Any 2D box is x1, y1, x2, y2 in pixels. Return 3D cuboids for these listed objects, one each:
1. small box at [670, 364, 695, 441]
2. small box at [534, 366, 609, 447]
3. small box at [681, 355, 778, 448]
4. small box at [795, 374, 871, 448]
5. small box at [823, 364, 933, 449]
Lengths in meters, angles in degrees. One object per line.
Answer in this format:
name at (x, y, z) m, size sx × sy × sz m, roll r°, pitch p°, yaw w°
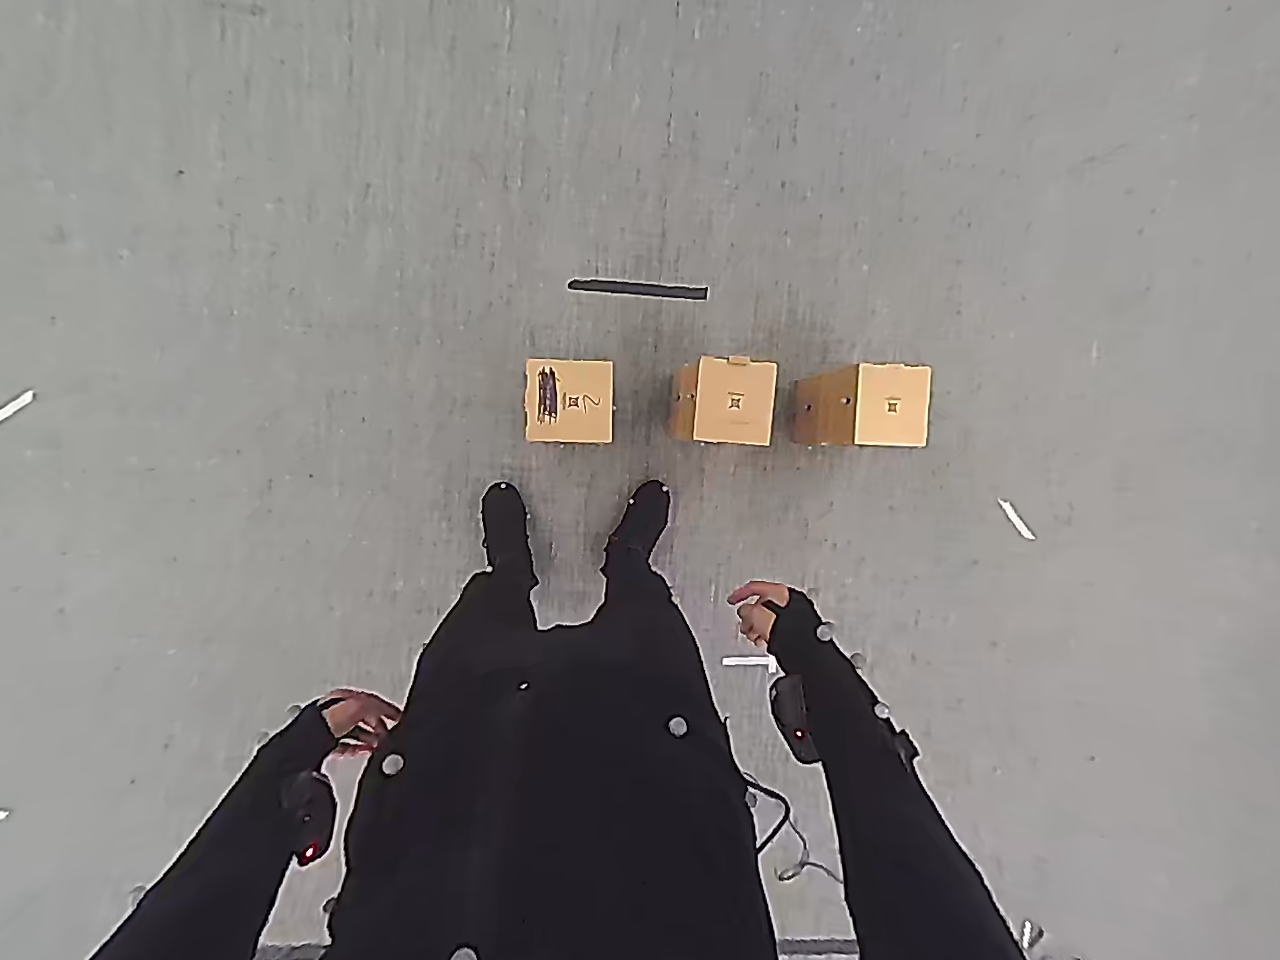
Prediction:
small box at (0.171, -0.183, 1.348) m, size 0.168 × 0.176 × 0.179 m, roll 4°, pitch 94°, yaw -6°
small box at (-0.165, -0.173, 1.316) m, size 0.168 × 0.176 × 0.179 m, roll 3°, pitch 93°, yaw -5°
small box at (0.189, -0.165, 1.186) m, size 0.168 × 0.176 × 0.179 m, roll 4°, pitch 93°, yaw -6°
small box at (0.509, -0.173, 1.386) m, size 0.168 × 0.176 × 0.179 m, roll 1°, pitch 93°, yaw -6°
small box at (0.530, -0.161, 1.225) m, size 0.168 × 0.176 × 0.179 m, roll 1°, pitch 93°, yaw -6°
